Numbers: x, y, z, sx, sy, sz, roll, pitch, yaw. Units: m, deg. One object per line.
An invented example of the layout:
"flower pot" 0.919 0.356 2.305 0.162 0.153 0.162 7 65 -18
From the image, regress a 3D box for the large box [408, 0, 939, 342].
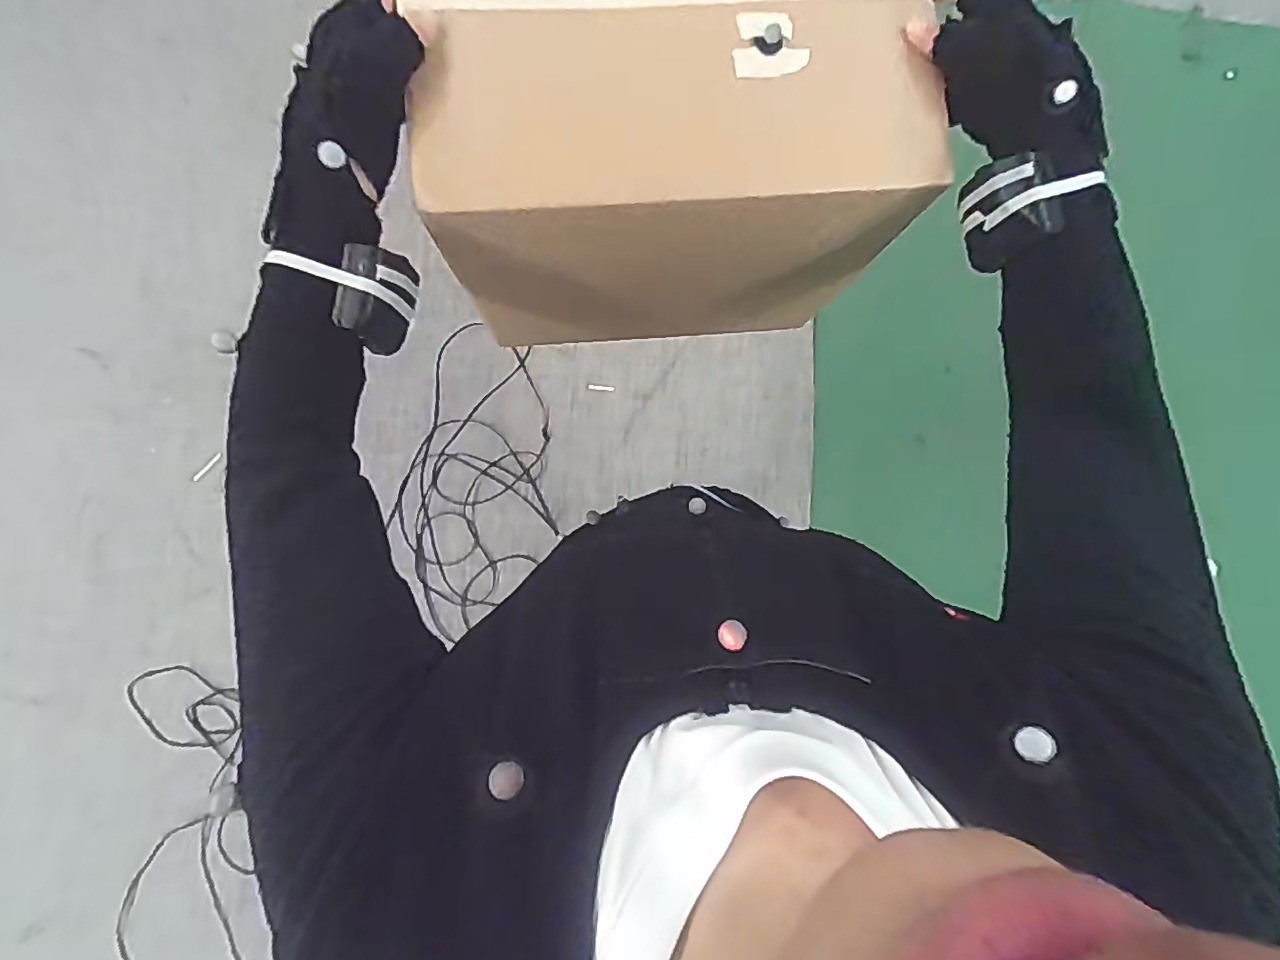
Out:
"large box" 0.010 -0.354 0.564 0.408 0.320 0.320 -5 86 -6
